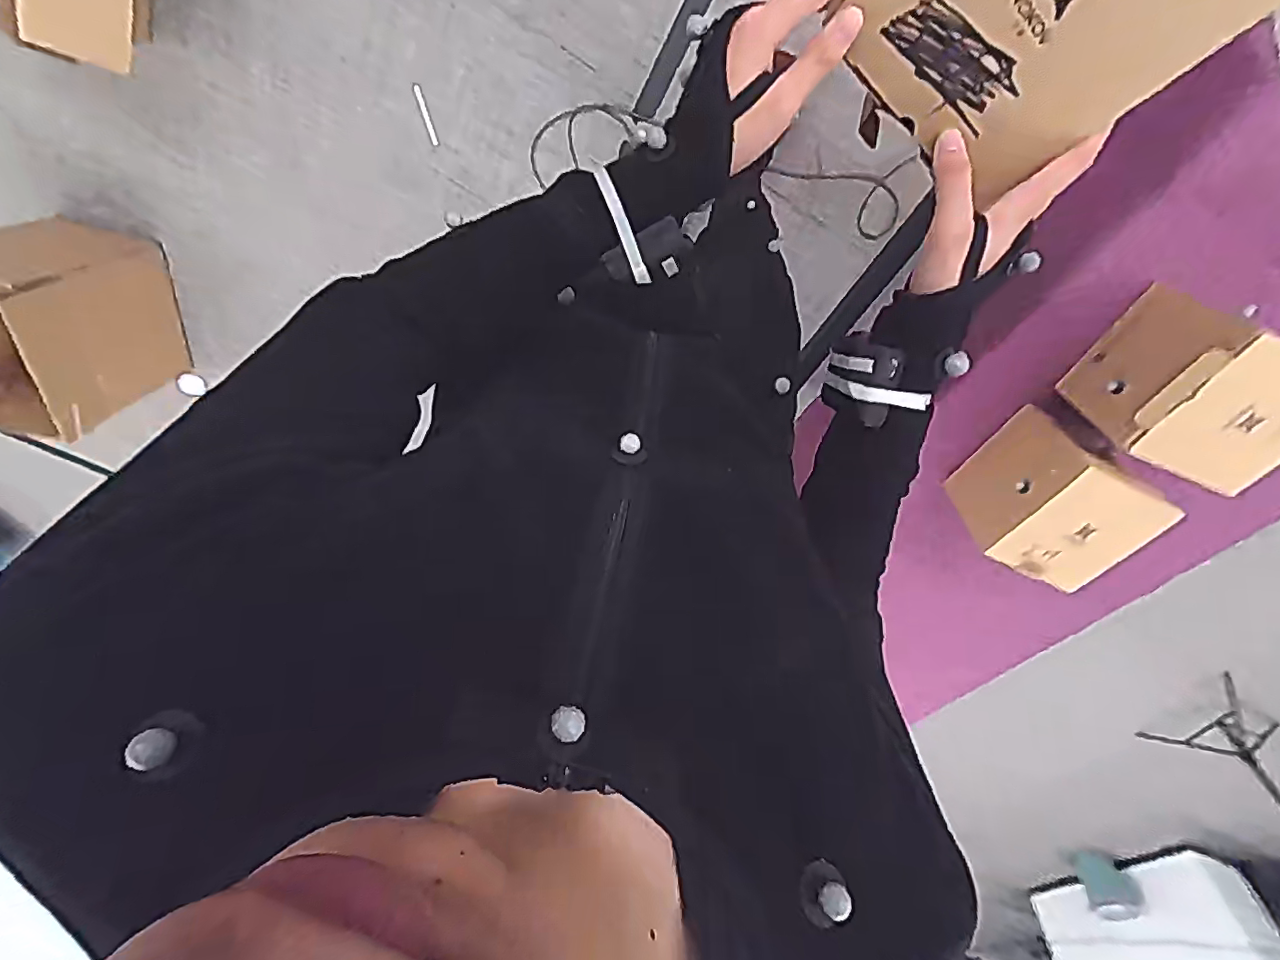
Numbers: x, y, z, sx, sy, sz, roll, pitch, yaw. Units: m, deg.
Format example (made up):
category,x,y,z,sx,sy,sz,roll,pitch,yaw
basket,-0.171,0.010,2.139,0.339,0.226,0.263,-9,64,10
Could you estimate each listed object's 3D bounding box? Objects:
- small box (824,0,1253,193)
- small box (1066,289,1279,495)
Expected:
category,x,y,z,sx,sy,sz,roll,pitch,yaw
small box,0.242,-0.330,0.327,0.168,0.176,0.179,34,142,-19
small box,0.699,-0.116,0.677,0.179,0.176,0.168,20,128,-9
